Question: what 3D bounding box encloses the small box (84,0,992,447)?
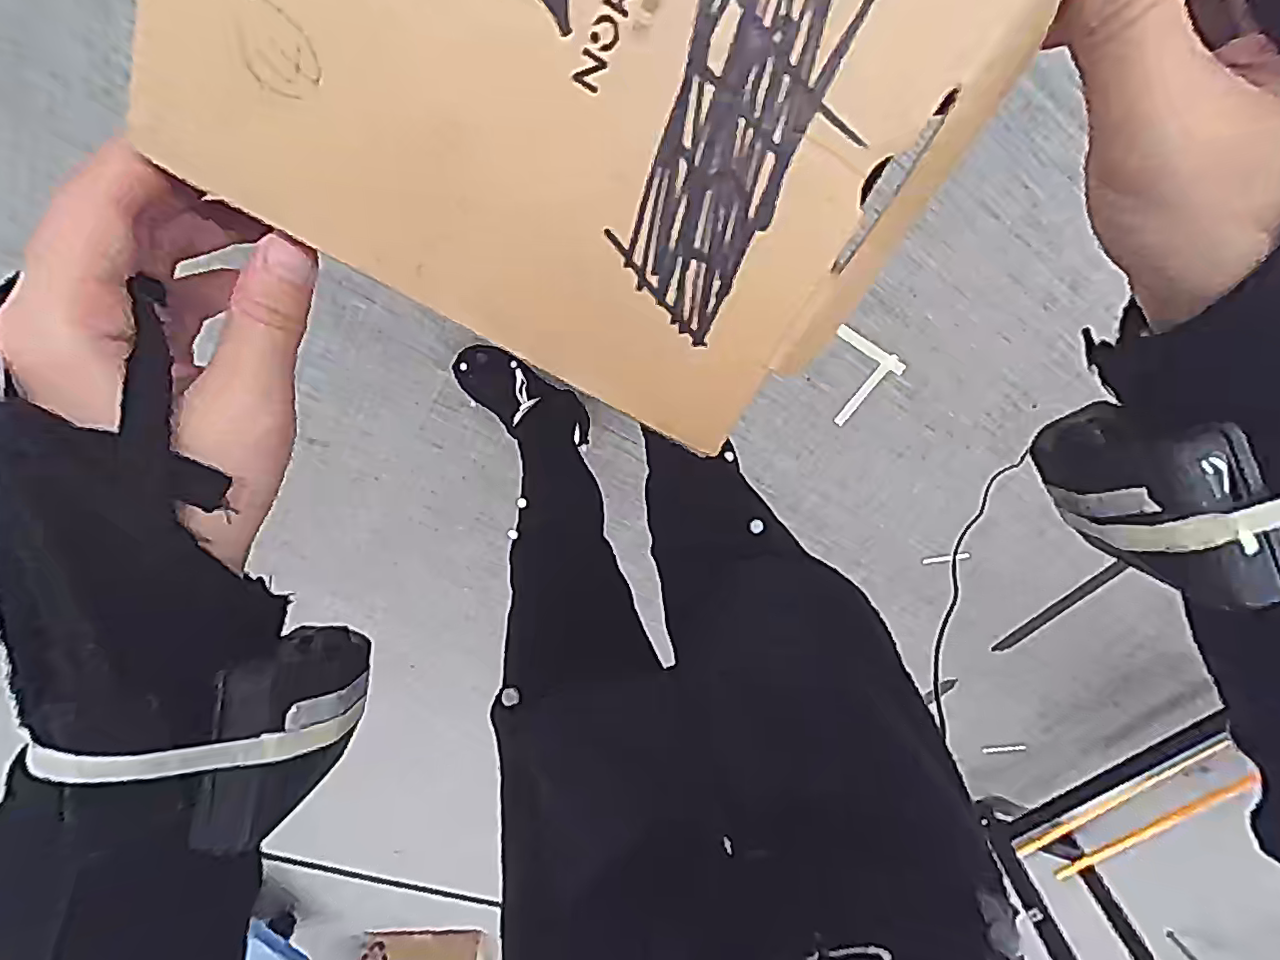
[{"bbox_3d":[-0.017,-0.144,0.186,0.179,0.176,0.168,27,114,-10],"label":"small box"}]
